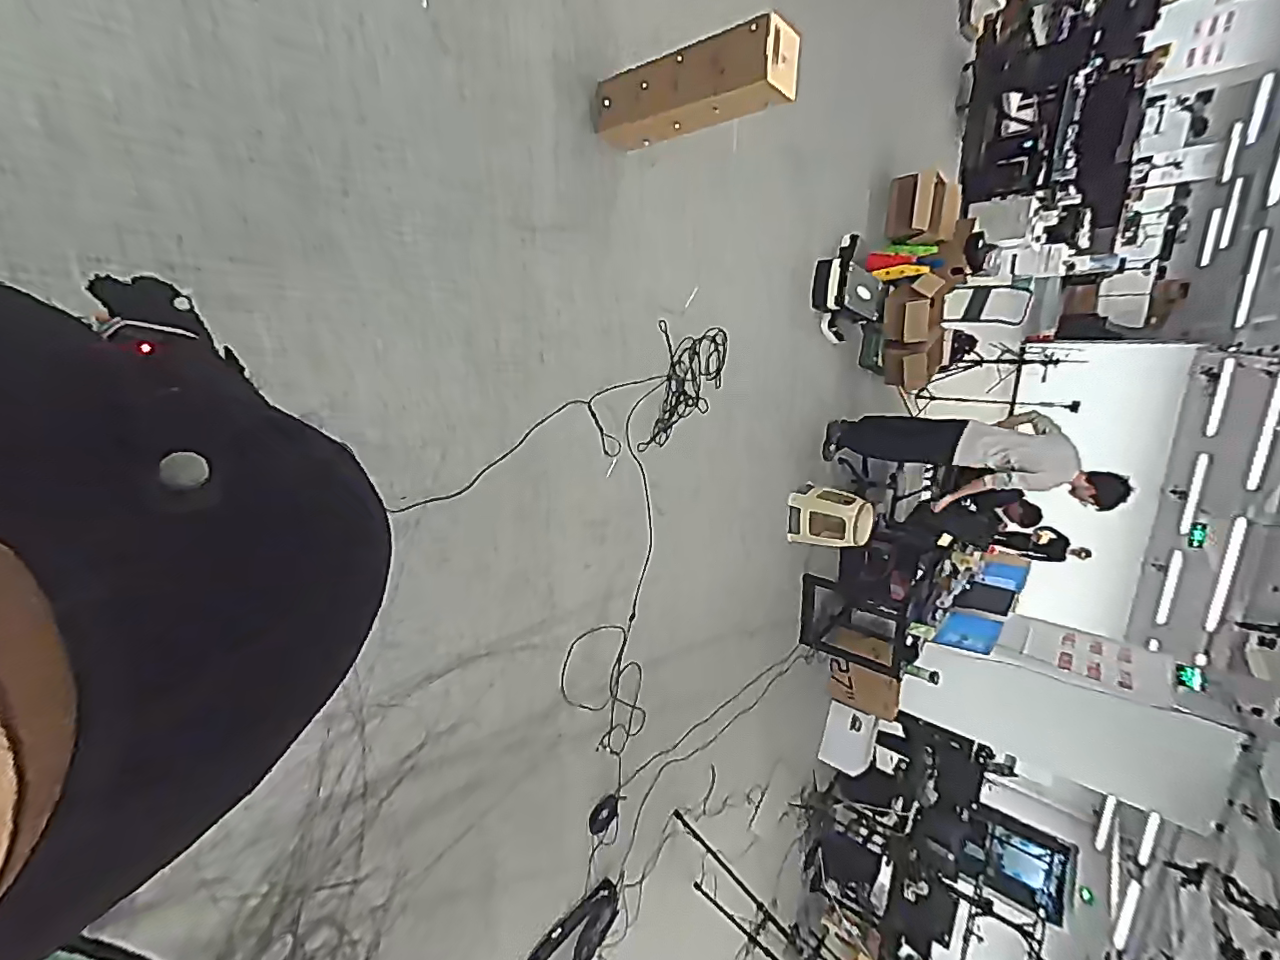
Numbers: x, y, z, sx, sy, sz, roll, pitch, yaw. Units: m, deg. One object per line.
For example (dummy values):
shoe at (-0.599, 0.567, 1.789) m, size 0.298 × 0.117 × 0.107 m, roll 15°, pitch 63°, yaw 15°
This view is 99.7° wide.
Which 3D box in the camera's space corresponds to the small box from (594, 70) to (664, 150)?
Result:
small box at (-0.039, -1.282, 1.891) m, size 0.179 × 0.176 × 0.168 m, roll -9°, pitch 106°, yaw -49°

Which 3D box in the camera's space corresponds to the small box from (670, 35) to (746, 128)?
small box at (0.209, -1.229, 1.685) m, size 0.179 × 0.176 × 0.168 m, roll -12°, pitch 109°, yaw -49°
